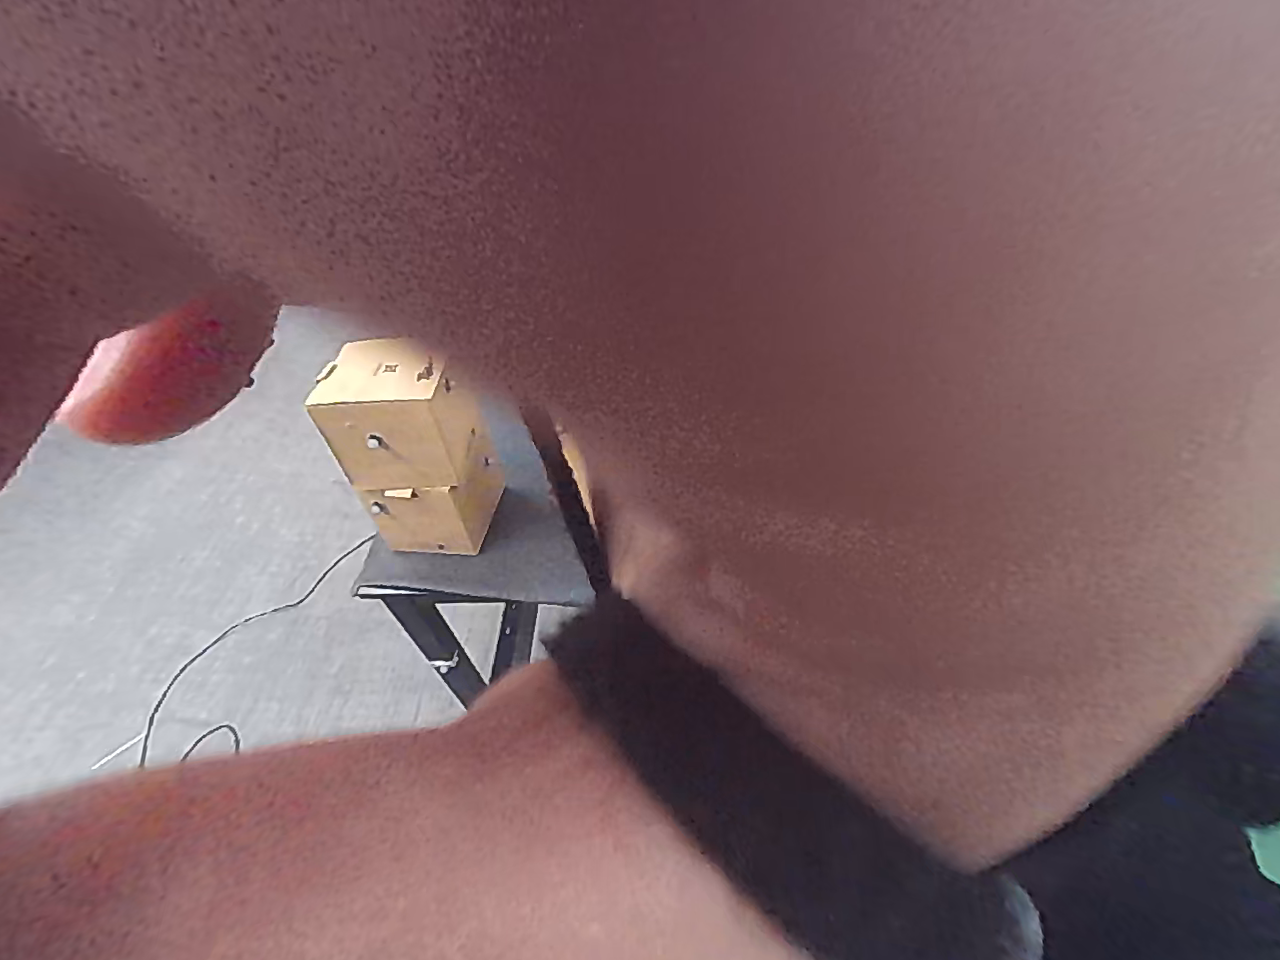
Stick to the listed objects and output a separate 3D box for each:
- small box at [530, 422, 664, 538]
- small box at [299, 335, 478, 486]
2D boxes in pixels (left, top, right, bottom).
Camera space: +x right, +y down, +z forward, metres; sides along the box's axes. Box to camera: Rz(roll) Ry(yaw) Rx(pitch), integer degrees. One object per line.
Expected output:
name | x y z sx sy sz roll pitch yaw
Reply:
small box | -0.069 -0.021 0.962 0.168 0.176 0.179 -31 52 -25
small box | -0.371 -0.105 0.837 0.179 0.176 0.168 -4 45 1
